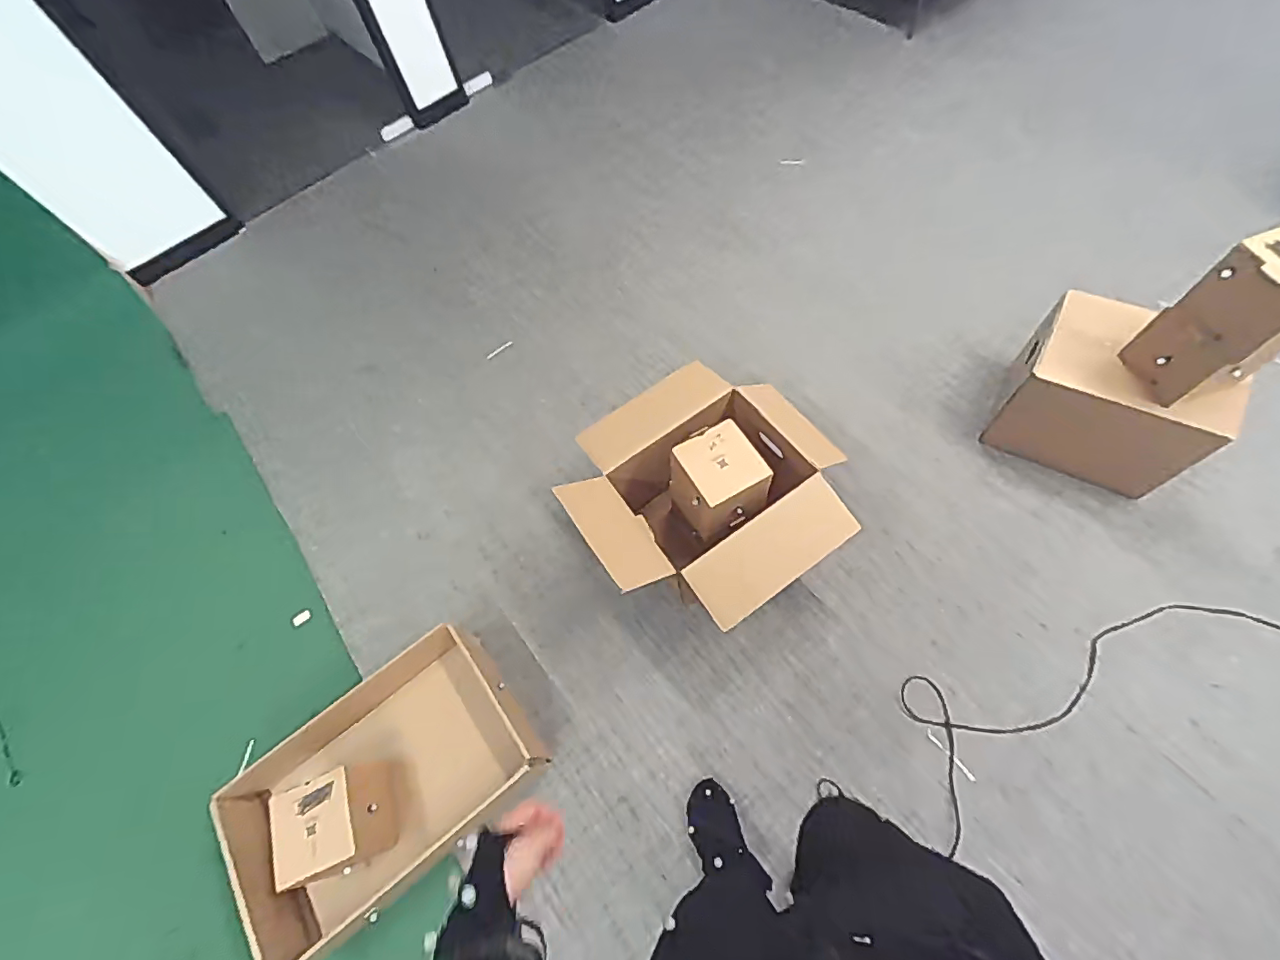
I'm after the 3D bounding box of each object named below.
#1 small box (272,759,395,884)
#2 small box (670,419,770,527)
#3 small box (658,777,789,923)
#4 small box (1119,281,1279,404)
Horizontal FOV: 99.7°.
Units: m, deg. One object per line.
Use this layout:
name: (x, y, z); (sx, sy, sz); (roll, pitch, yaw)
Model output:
small box: (-0.661, 0.734, 1.176); (0.168, 0.176, 0.179); (-23, 62, -6)
small box: (0.186, -0.008, 1.296); (0.168, 0.176, 0.179); (-28, 63, -11)
small box: (0.176, 0.743, 1.104); (0.176, 0.168, 0.179); (46, 50, -5)
small box: (1.207, -0.291, 1.176); (0.179, 0.176, 0.168); (-20, 63, -1)
